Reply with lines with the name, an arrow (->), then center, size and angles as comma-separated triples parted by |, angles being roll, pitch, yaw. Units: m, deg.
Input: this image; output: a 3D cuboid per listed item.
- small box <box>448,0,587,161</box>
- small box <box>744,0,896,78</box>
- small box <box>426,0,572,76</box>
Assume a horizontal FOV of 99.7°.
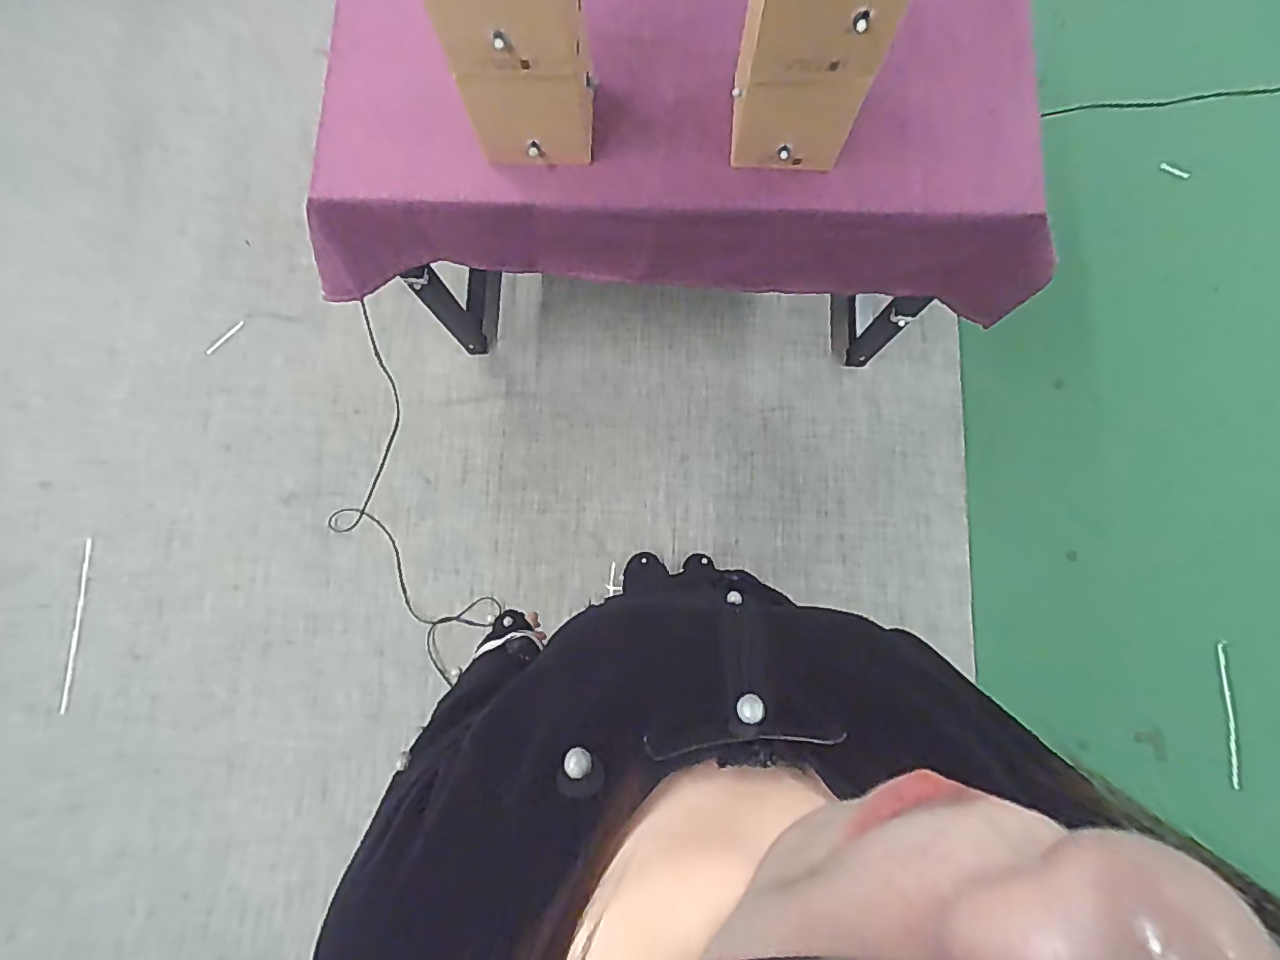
small box -> -0.176, -0.621, 0.830 | 0.179, 0.176, 0.168 | 1, 81, 0
small box -> 0.223, -0.634, 0.659 | 0.168, 0.176, 0.179 | 2, 82, 1
small box -> -0.178, -0.650, 0.667 | 0.168, 0.176, 0.179 | 2, 82, 2
